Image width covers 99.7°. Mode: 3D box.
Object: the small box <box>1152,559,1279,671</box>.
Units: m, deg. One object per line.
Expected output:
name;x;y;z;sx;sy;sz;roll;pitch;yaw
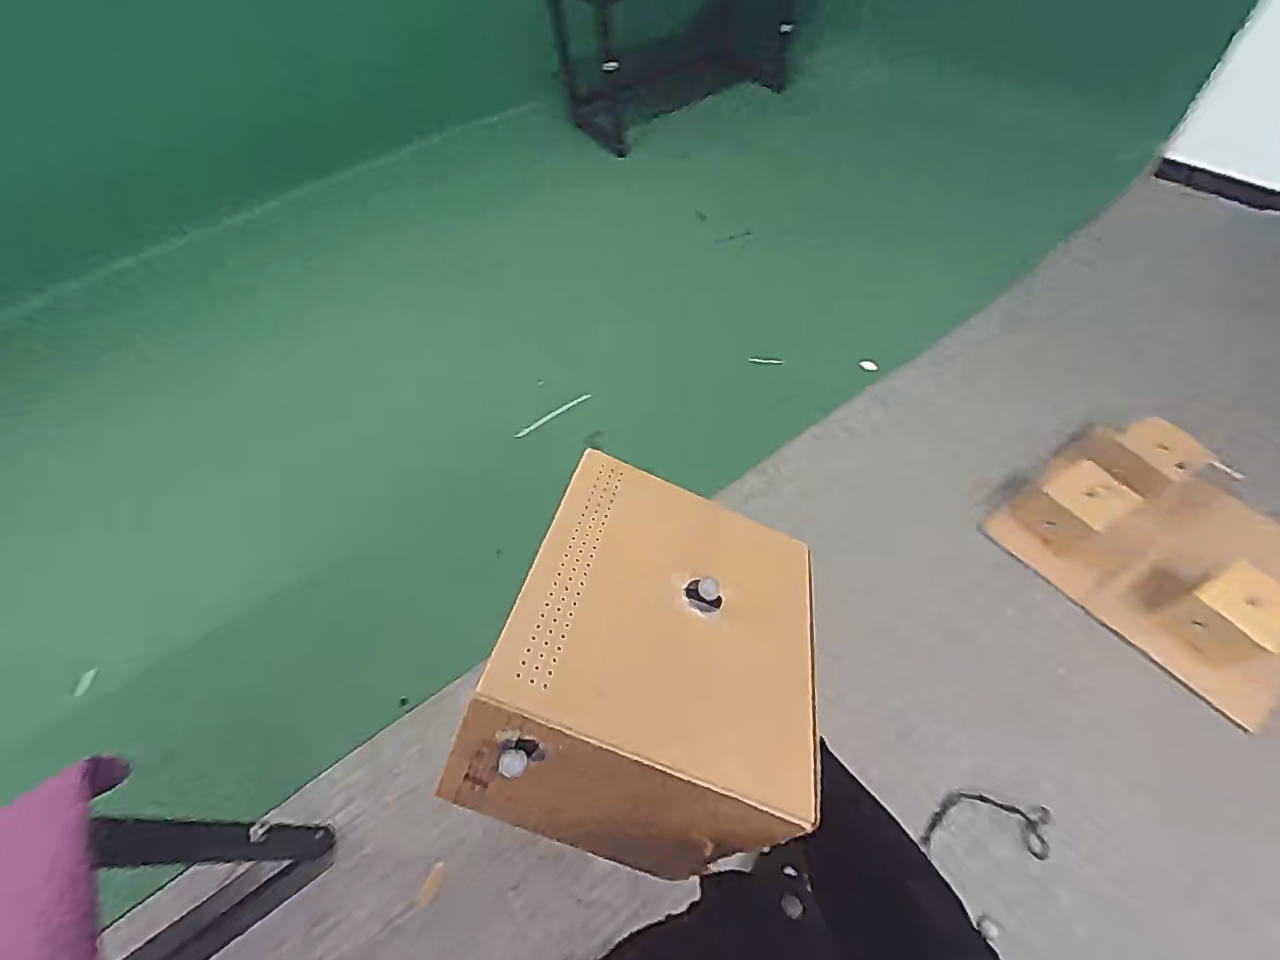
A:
small box;1.393;0.328;1.291;0.179;0.176;0.168;-30;58;-14

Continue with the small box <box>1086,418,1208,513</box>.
small box;1.419;-0.037;1.541;0.168;0.176;0.179;-28;57;-12

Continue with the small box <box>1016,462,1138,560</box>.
small box;1.180;0.091;1.481;0.179;0.176;0.168;-29;58;-13

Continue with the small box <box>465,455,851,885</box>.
small box;0.008;0.118;0.345;0.176;0.168;0.179;25;43;-7
